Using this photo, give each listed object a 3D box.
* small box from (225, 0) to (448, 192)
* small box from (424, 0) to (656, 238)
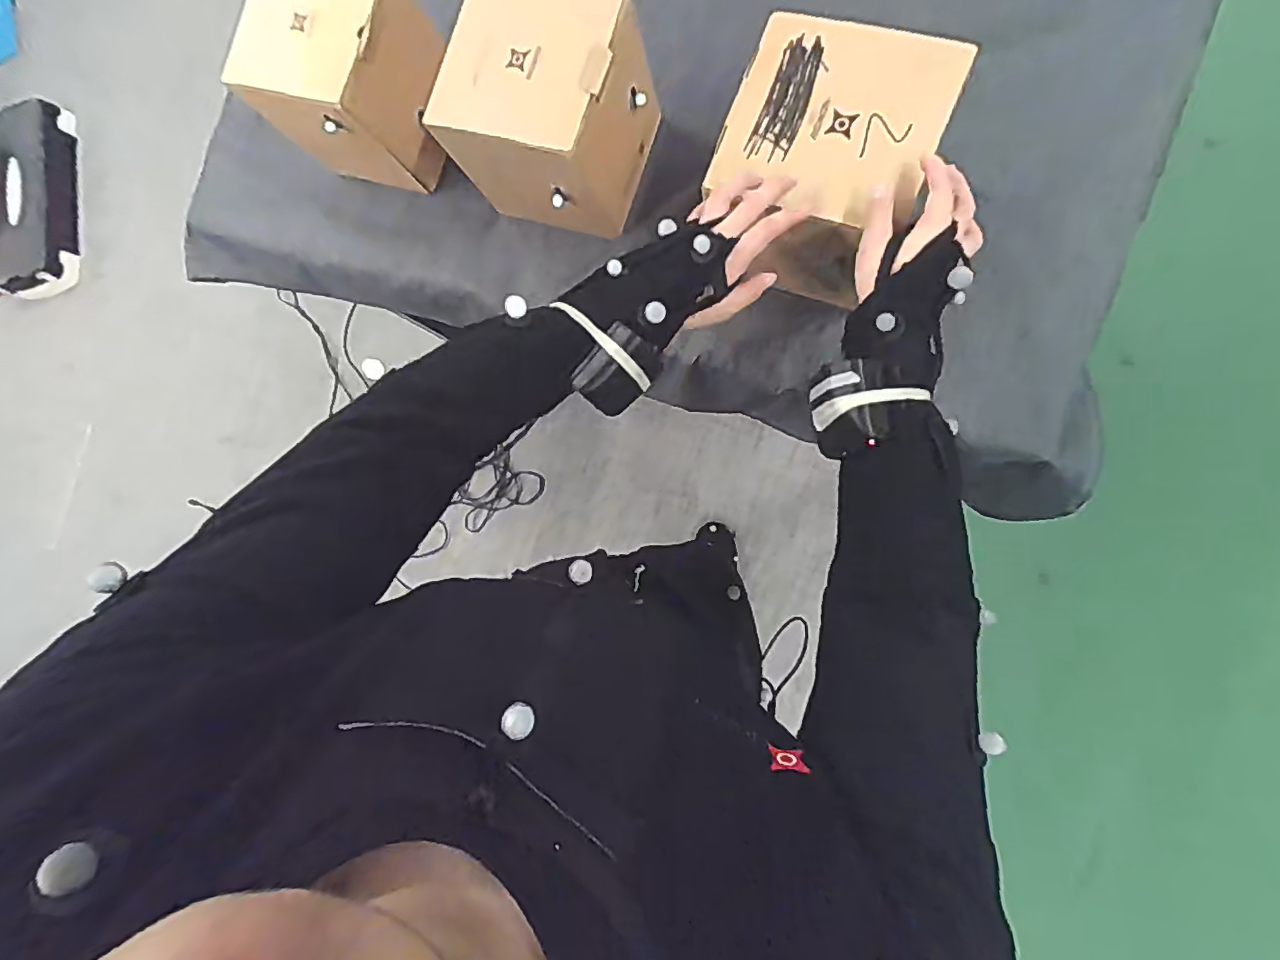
[{"bbox_3d":[-0.353,-0.495,0.678,0.179,0.176,0.168,18,89,13],"label":"small box"},{"bbox_3d":[-0.098,-0.401,0.609,0.179,0.176,0.168,19,89,16],"label":"small box"}]
